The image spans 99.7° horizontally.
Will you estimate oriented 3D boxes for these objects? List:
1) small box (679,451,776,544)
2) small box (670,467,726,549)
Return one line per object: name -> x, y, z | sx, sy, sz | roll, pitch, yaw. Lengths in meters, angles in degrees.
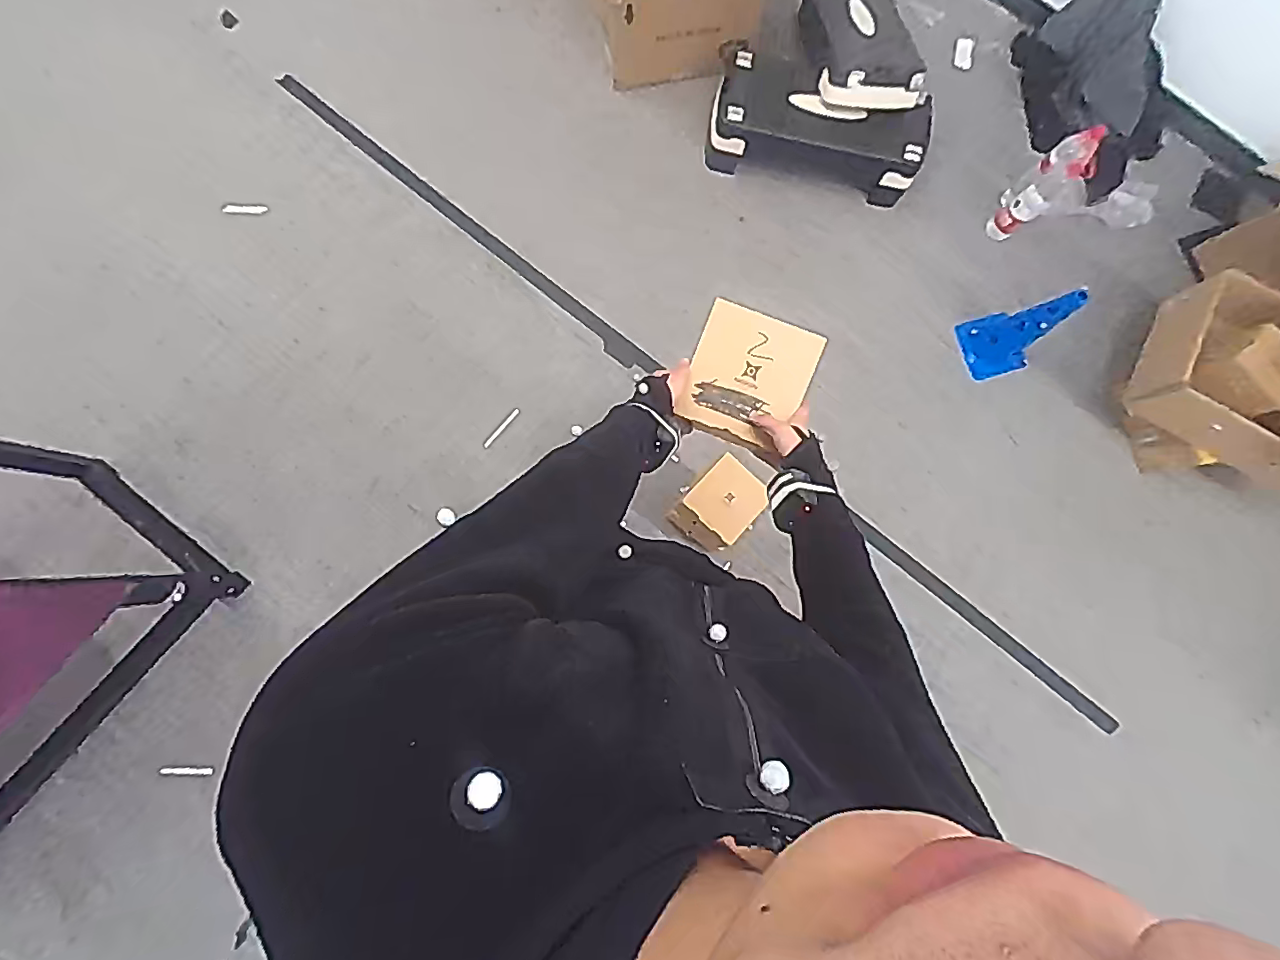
small box -> 0.220, 0.051, 1.423 | 0.168, 0.176, 0.179 | 43, 83, 3
small box -> 0.206, 0.085, 1.582 | 0.179, 0.176, 0.168 | 38, 82, 3
